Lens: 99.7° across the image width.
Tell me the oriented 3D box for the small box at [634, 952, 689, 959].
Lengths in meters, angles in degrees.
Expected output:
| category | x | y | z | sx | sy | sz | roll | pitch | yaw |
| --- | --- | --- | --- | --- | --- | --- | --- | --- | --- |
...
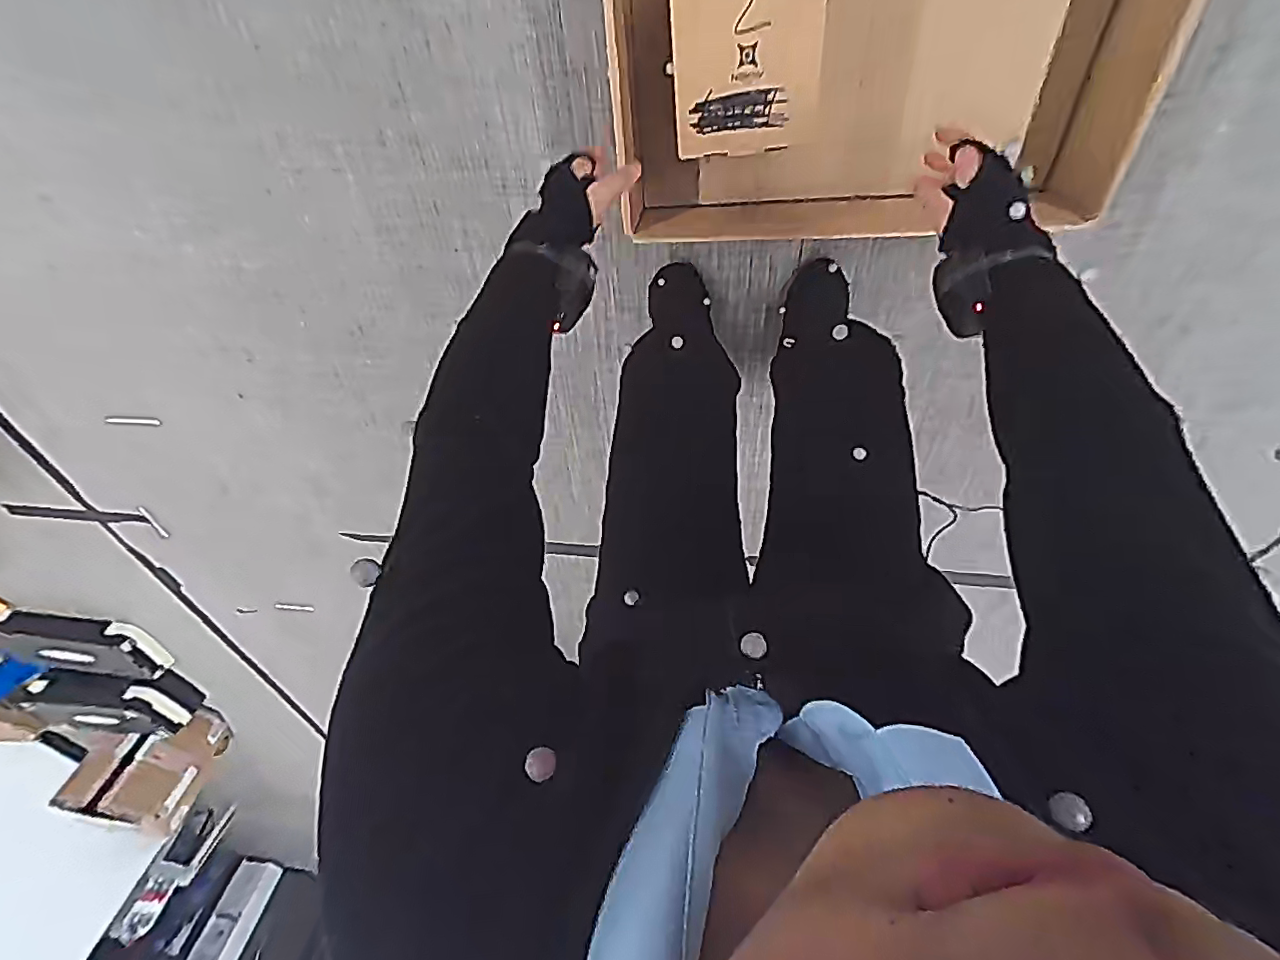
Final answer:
| category | x | y | z | sx | sy | sz | roll | pitch | yaw |
| --- | --- | --- | --- | --- | --- | --- | --- | --- | --- |
| small box | 0.069 | 1.379 | 1.432 | 0.168 | 0.176 | 0.179 | -4 | 131 | 14 |
